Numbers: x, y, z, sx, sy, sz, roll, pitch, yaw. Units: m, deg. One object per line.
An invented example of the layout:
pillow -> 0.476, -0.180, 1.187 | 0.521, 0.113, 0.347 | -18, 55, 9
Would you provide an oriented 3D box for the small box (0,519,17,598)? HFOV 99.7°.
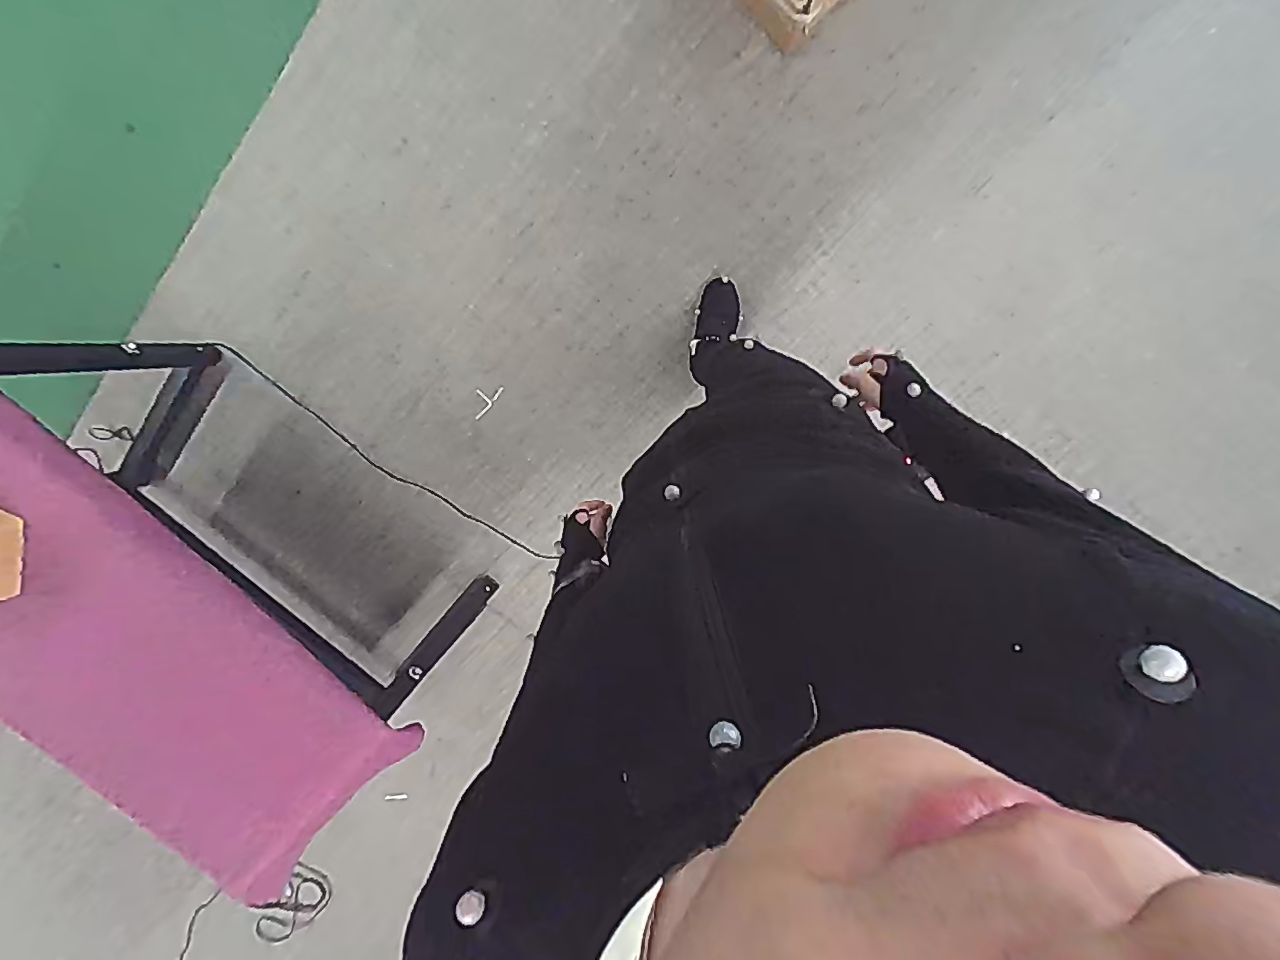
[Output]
small box -> -1.296, 0.143, 0.974 | 0.168, 0.176, 0.179 | 22, 105, 0
